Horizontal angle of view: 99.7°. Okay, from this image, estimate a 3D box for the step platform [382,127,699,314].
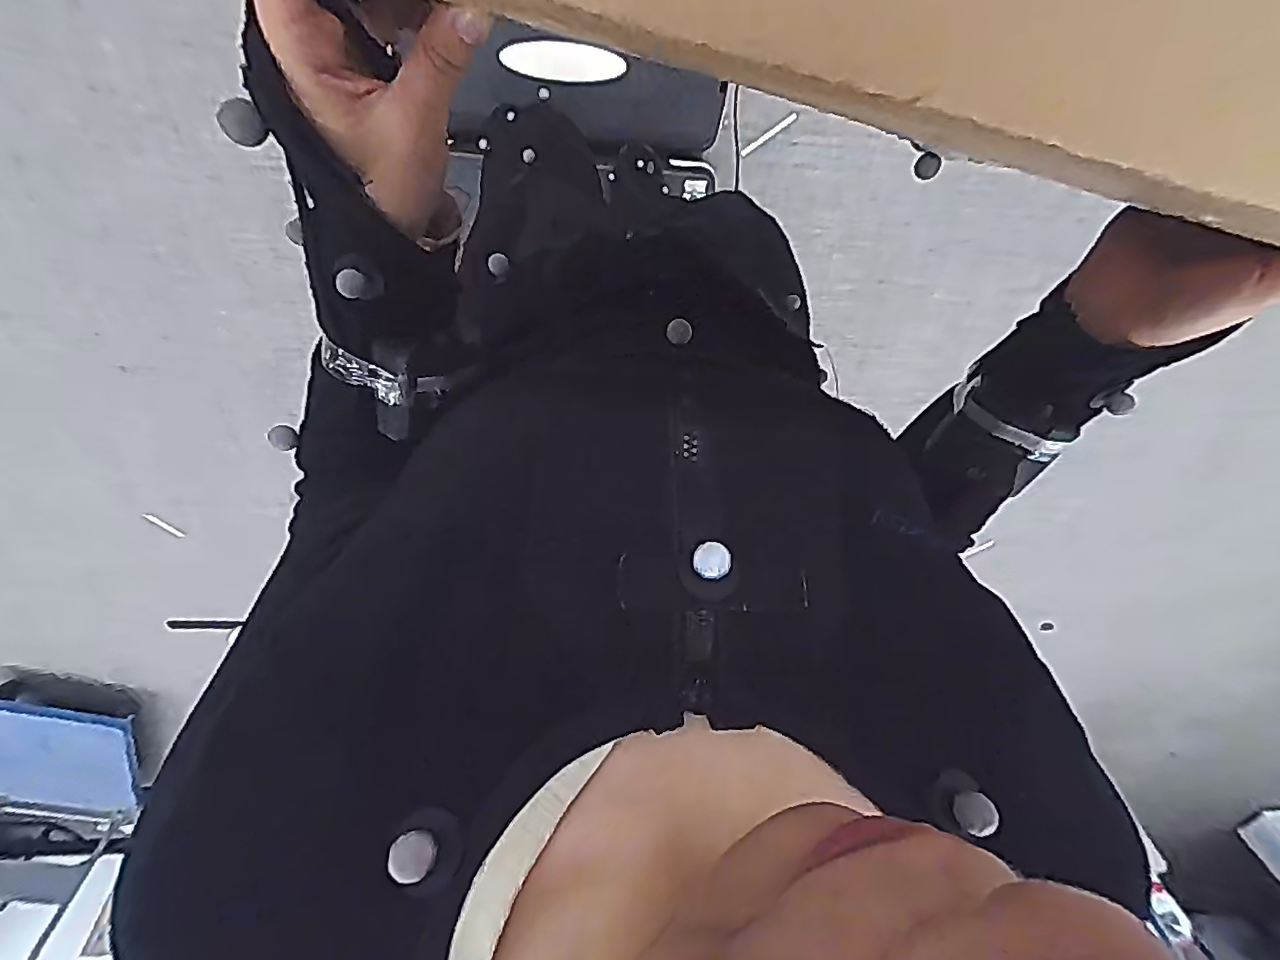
[{"bbox_3d":[-0.211,-0.580,1.233,0.684,0.204,0.286,7,126,-7],"label":"step platform"}]
